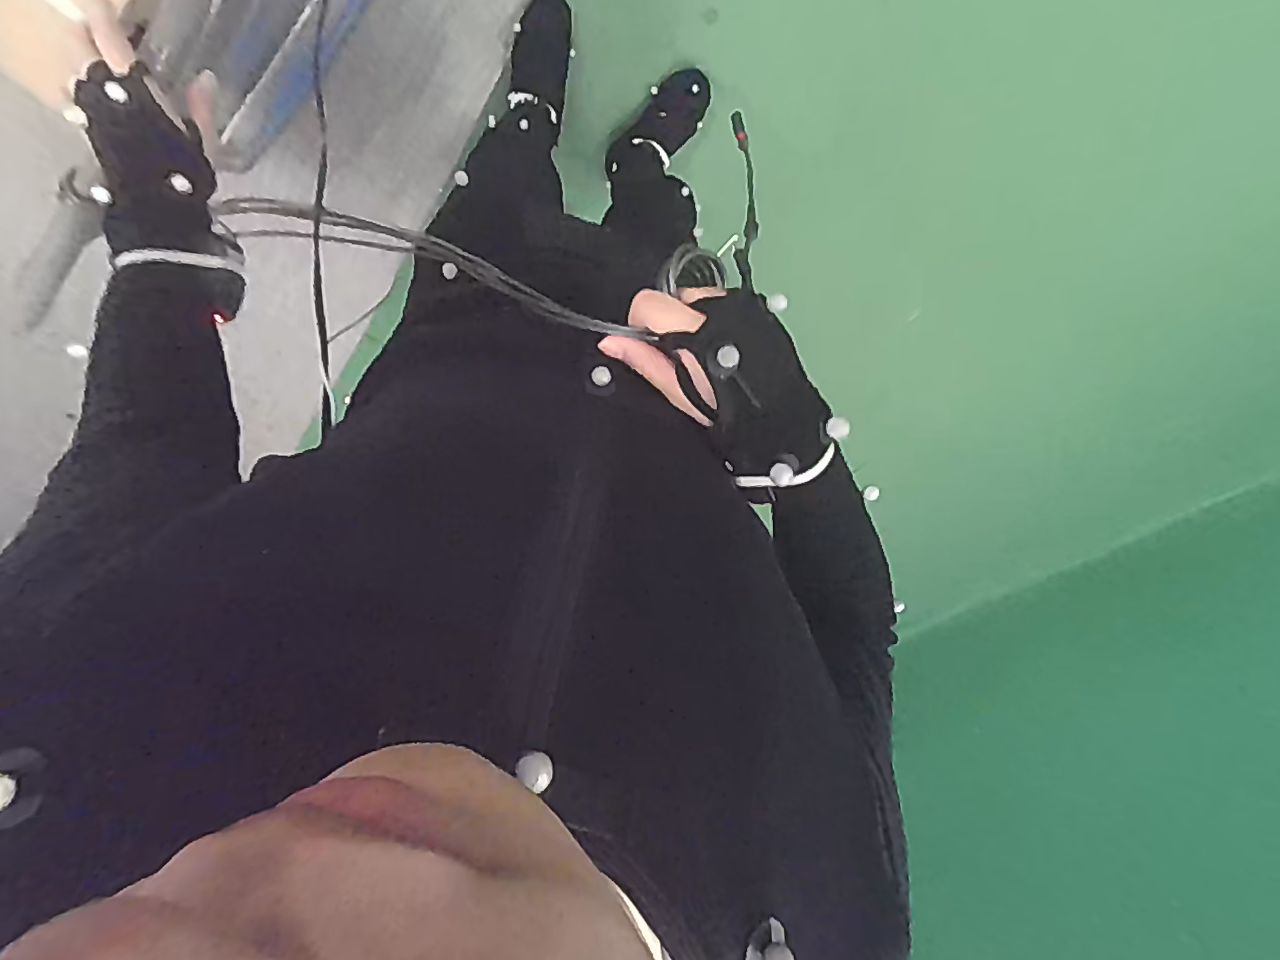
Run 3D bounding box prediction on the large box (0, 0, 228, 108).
[{"bbox_3d":[-0.826,-0.817,0.714,0.320,0.320,0.408,-27,131,23],"label":"large box"}]
